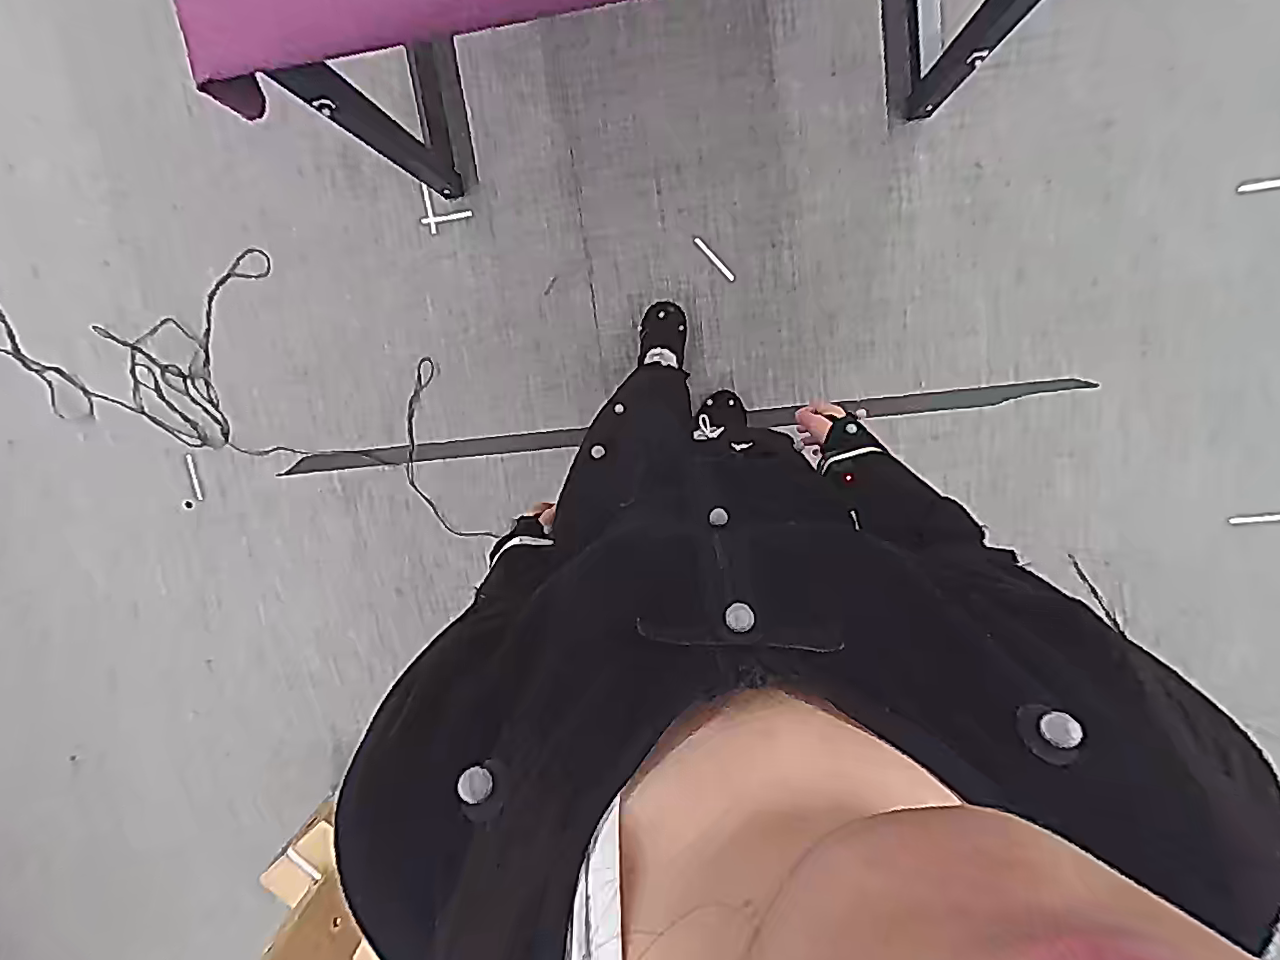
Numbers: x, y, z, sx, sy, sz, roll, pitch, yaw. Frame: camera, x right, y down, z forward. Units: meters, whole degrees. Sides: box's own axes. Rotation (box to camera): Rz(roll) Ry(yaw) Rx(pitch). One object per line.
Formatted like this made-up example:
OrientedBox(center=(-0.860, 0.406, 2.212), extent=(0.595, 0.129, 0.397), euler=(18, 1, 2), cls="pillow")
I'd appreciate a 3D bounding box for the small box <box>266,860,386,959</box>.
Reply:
OrientedBox(center=(-0.813, 1.160, 1.421), extent=(0.179, 0.176, 0.168), euler=(42, 101, -3), cls="small box")
